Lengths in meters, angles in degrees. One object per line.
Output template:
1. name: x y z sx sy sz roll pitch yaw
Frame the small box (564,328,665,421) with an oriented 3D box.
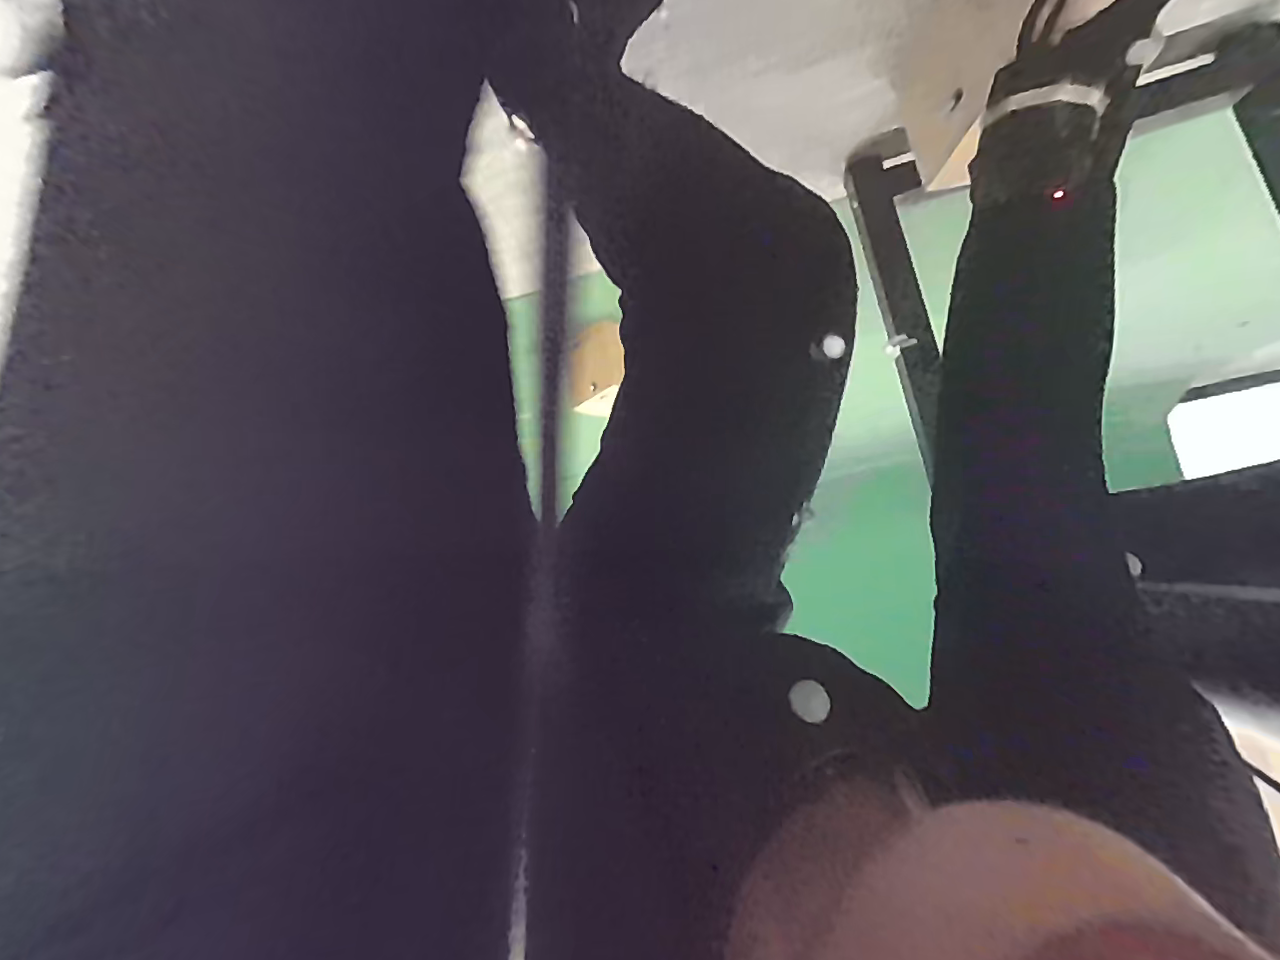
1. small box: -0.065 -0.255 1.327 0.179 0.176 0.168 0 165 -44

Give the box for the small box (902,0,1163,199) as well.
1. small box: 0.439 -0.478 0.643 0.168 0.176 0.179 -9 171 0
